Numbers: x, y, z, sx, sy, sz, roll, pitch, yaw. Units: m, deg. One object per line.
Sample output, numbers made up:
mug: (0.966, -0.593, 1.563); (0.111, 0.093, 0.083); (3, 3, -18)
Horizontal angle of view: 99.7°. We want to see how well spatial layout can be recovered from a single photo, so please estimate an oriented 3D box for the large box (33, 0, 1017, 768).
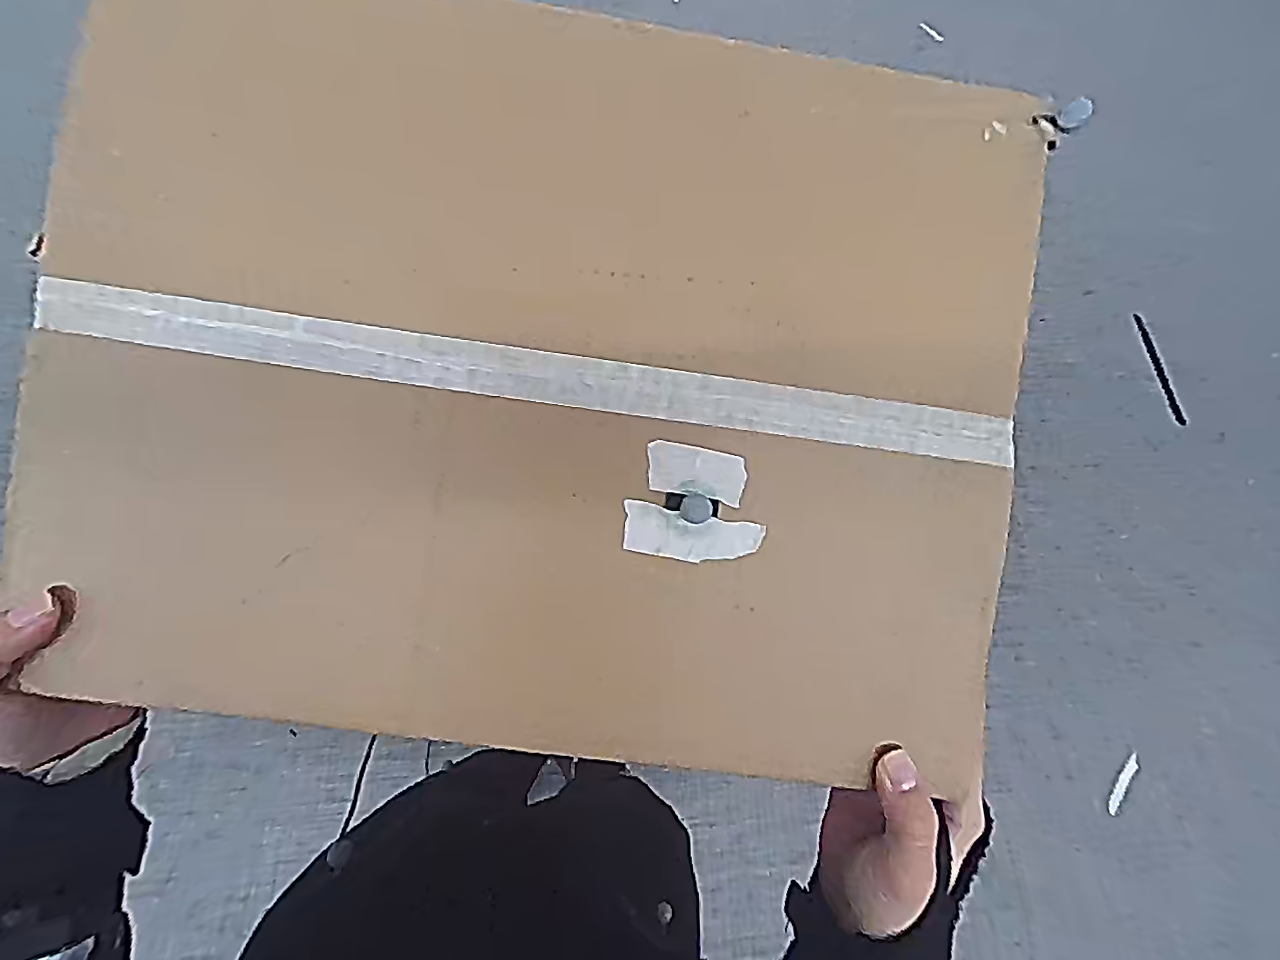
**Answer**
large box: (-0.047, -0.038, 0.385); (0.408, 0.320, 0.320); (7, 90, -4)
